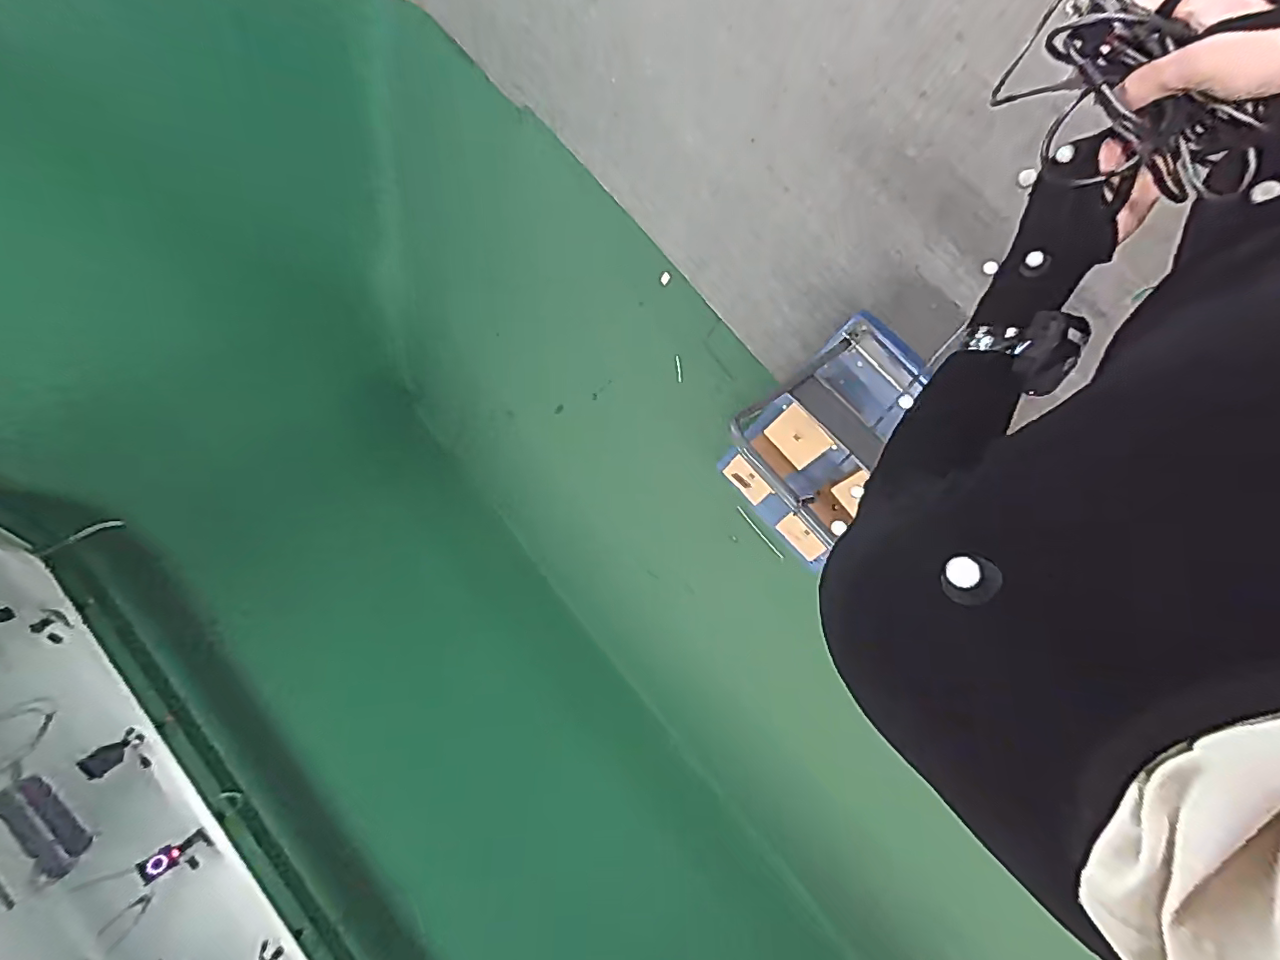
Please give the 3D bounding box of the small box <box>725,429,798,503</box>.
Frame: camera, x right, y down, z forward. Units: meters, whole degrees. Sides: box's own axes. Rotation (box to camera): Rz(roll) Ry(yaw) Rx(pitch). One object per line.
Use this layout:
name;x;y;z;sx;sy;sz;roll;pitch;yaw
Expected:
small box;0.431;-0.058;1.857;0.168;0.176;0.179;47;145;10

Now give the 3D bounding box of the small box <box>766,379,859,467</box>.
small box;0.527;-0.174;1.642;0.168;0.176;0.179;49;145;8

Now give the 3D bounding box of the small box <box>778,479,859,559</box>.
small box;0.604;0.127;1.810;0.168;0.176;0.179;47;145;12
